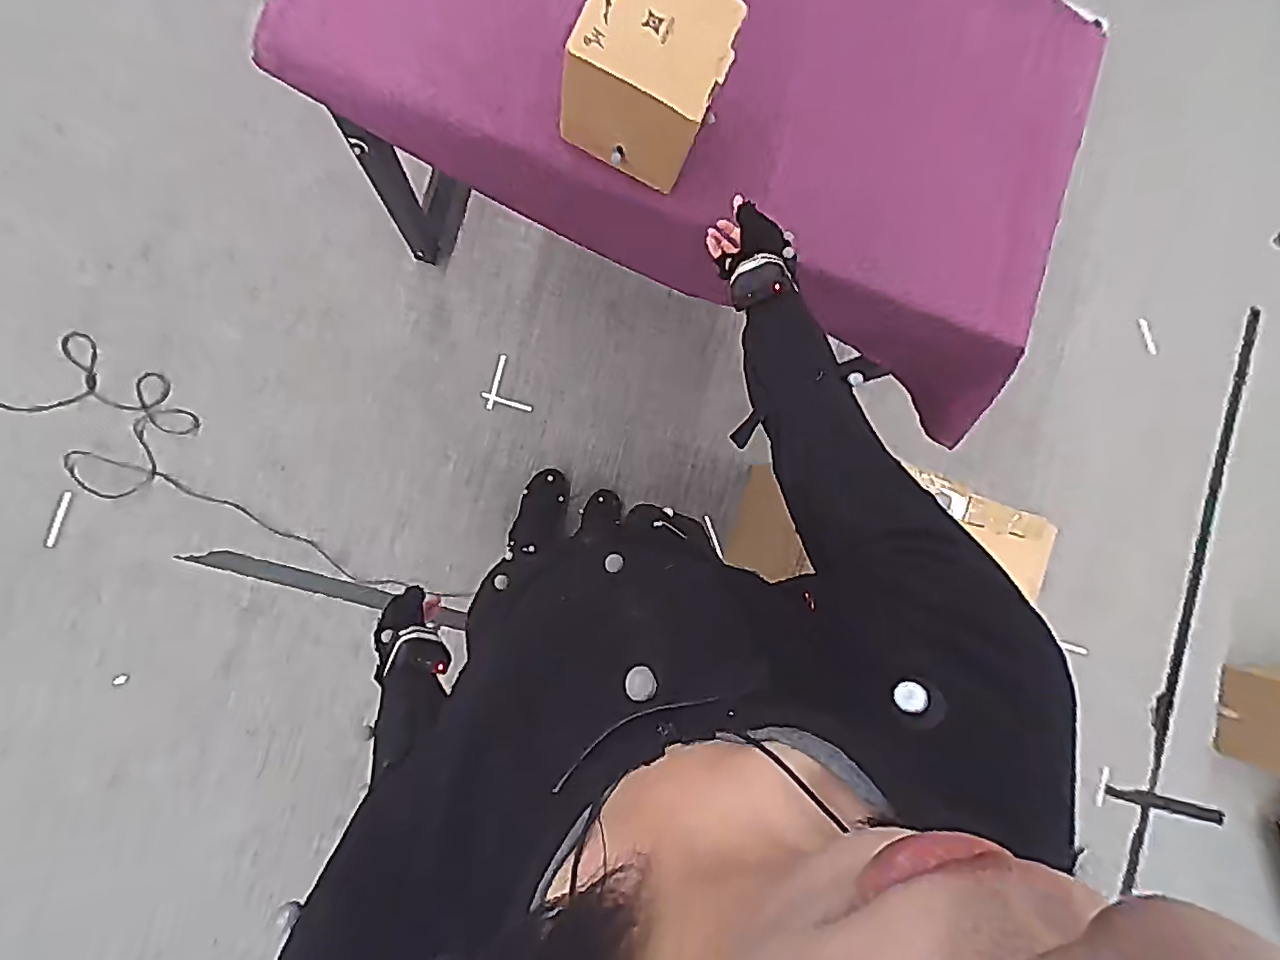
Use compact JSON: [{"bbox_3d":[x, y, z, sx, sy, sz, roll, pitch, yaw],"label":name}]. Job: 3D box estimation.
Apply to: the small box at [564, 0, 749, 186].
[{"bbox_3d":[0.011,-0.531,0.721,0.179,0.176,0.168,24,85,-10],"label":"small box"}]
